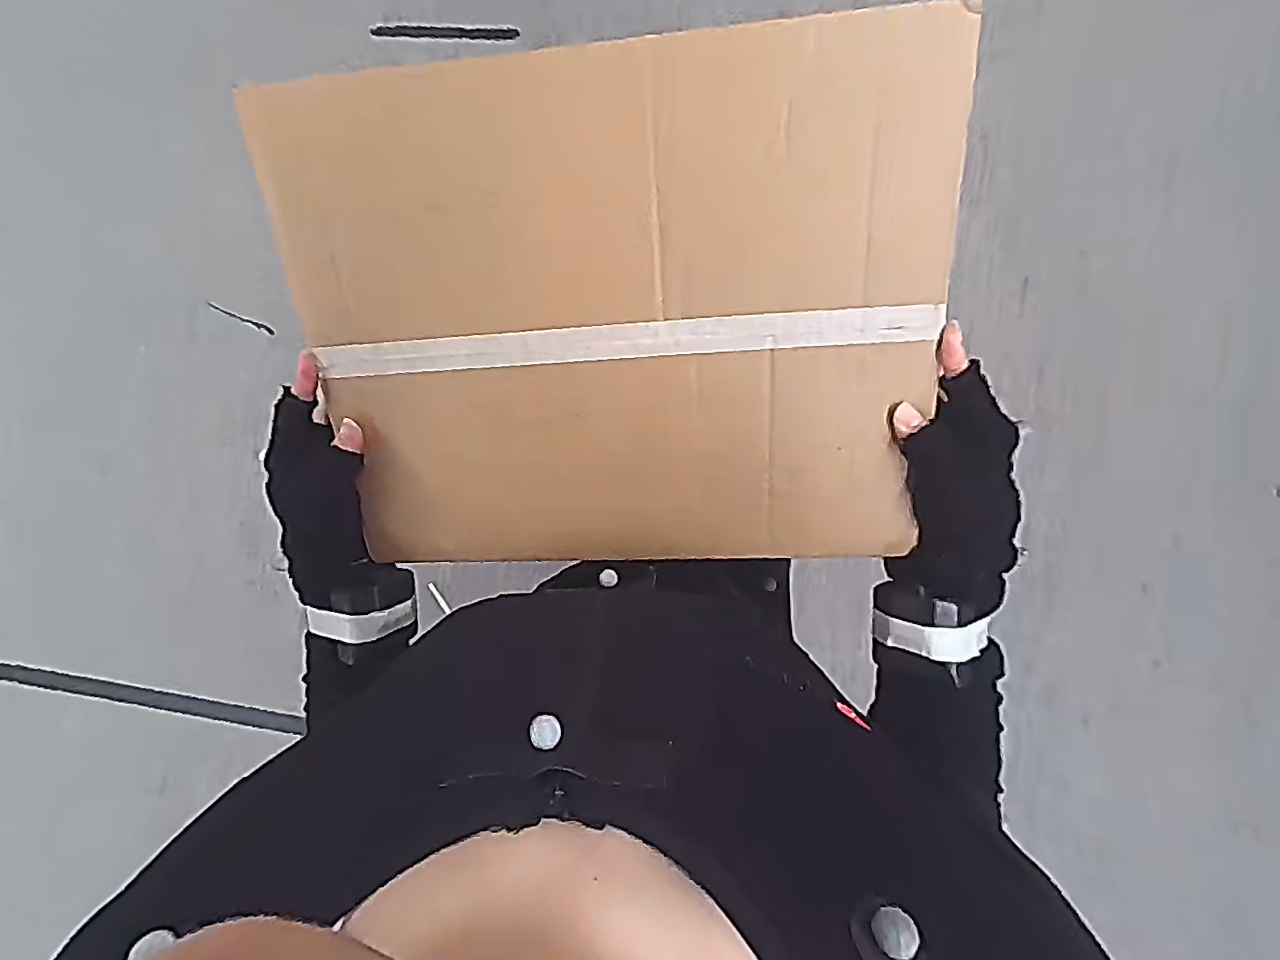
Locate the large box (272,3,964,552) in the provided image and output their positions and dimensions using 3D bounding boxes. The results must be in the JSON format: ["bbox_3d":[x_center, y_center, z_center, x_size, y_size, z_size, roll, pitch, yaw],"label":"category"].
[{"bbox_3d":[-0.004,-0.147,0.491,0.408,0.320,0.320,-2,112,7],"label":"large box"}]
